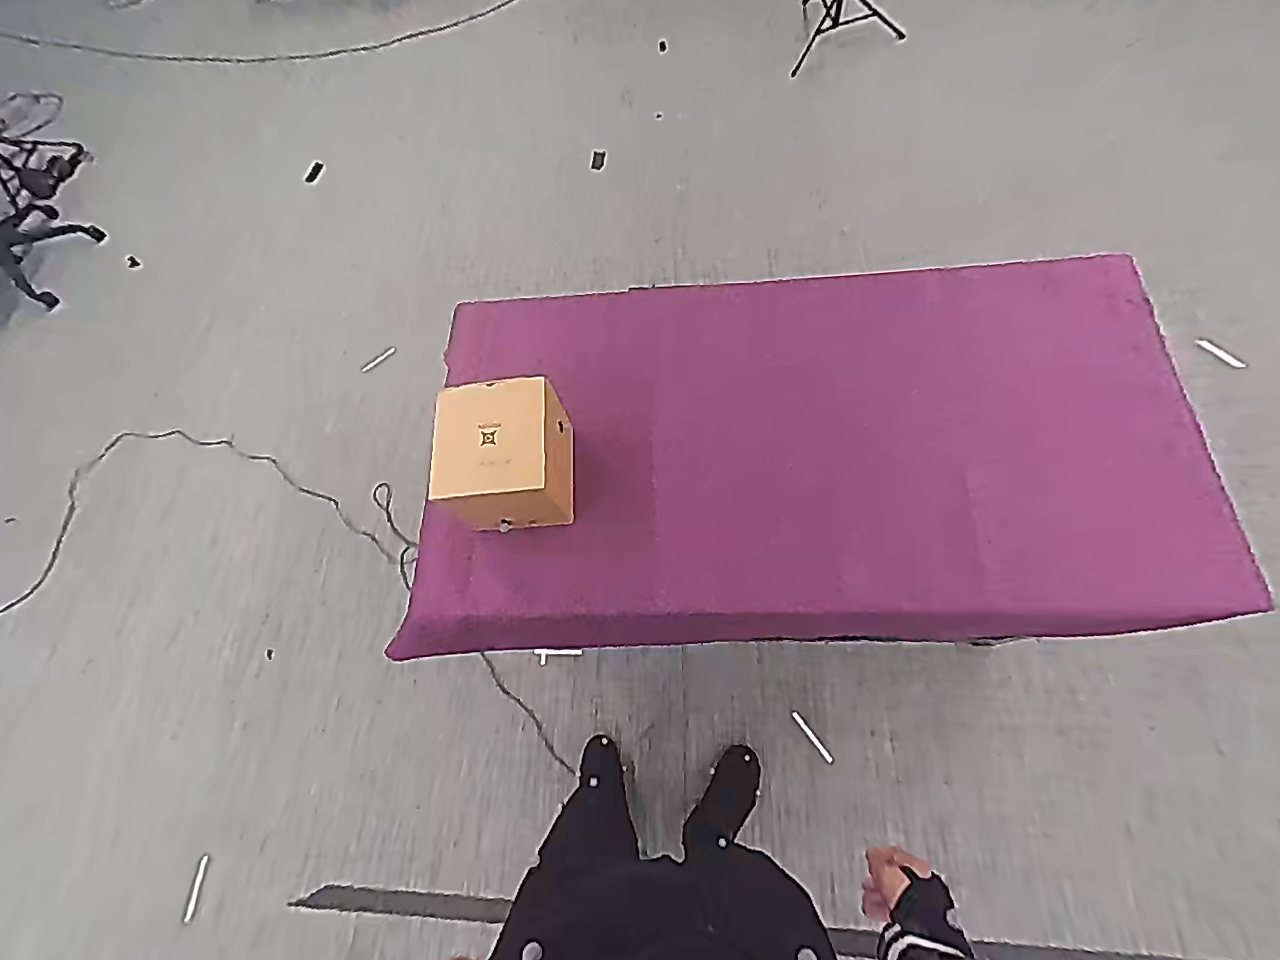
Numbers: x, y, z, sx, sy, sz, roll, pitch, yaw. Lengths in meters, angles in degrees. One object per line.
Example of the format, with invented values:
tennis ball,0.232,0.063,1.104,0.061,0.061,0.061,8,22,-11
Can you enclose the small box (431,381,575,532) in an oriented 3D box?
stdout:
small box,-0.200,-0.030,0.841,0.168,0.176,0.179,-5,67,5
